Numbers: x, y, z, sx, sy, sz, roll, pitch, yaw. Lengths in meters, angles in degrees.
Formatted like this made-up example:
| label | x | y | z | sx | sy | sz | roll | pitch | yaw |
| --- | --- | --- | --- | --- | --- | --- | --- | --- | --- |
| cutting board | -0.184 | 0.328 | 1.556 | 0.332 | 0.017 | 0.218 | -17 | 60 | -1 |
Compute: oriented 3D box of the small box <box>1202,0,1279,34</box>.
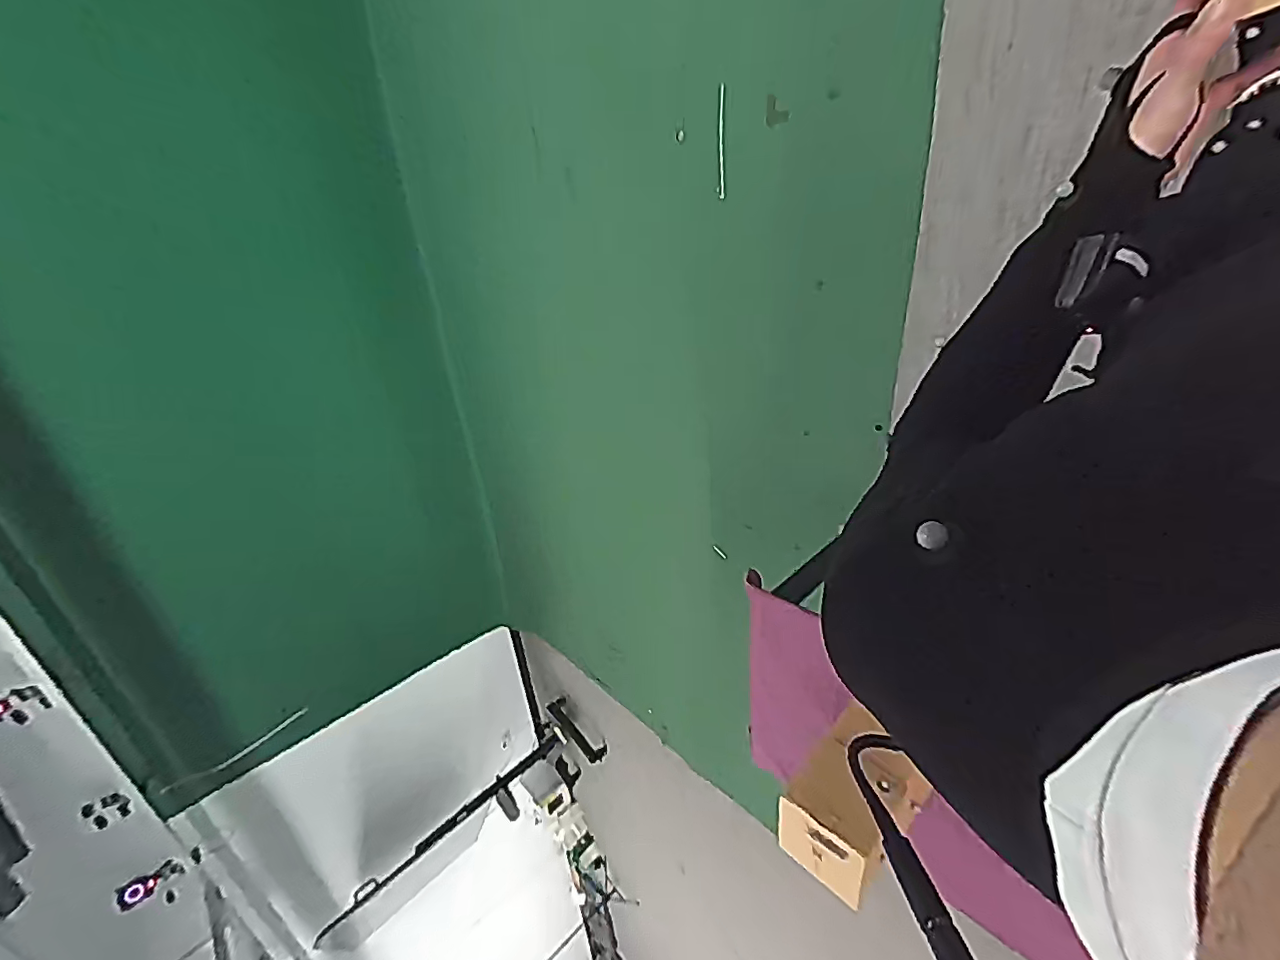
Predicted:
| label | x | y | z | sx | sy | sz | roll | pitch | yaw |
| --- | --- | --- | --- | --- | --- | --- | --- | --- | --- |
| small box | 0.441 | -0.393 | 0.301 | 0.168 | 0.176 | 0.179 | 4 | 122 | 44 |

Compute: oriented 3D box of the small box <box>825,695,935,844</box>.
| label | x | y | z | sx | sy | sz | roll | pitch | yaw |
| --- | --- | --- | --- | --- | --- | --- | --- | --- | --- |
| small box | 0.496 | 0.591 | 1.128 | 0.168 | 0.176 | 0.179 | 18 | 126 | 43 |

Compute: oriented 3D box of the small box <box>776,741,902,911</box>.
| label | x | y | z | sx | sy | sz | roll | pitch | yaw |
| --- | --- | --- | --- | --- | --- | --- | --- | --- | --- |
| small box | 0.377 | 0.643 | 1.027 | 0.168 | 0.176 | 0.179 | 21 | 128 | 42 |
